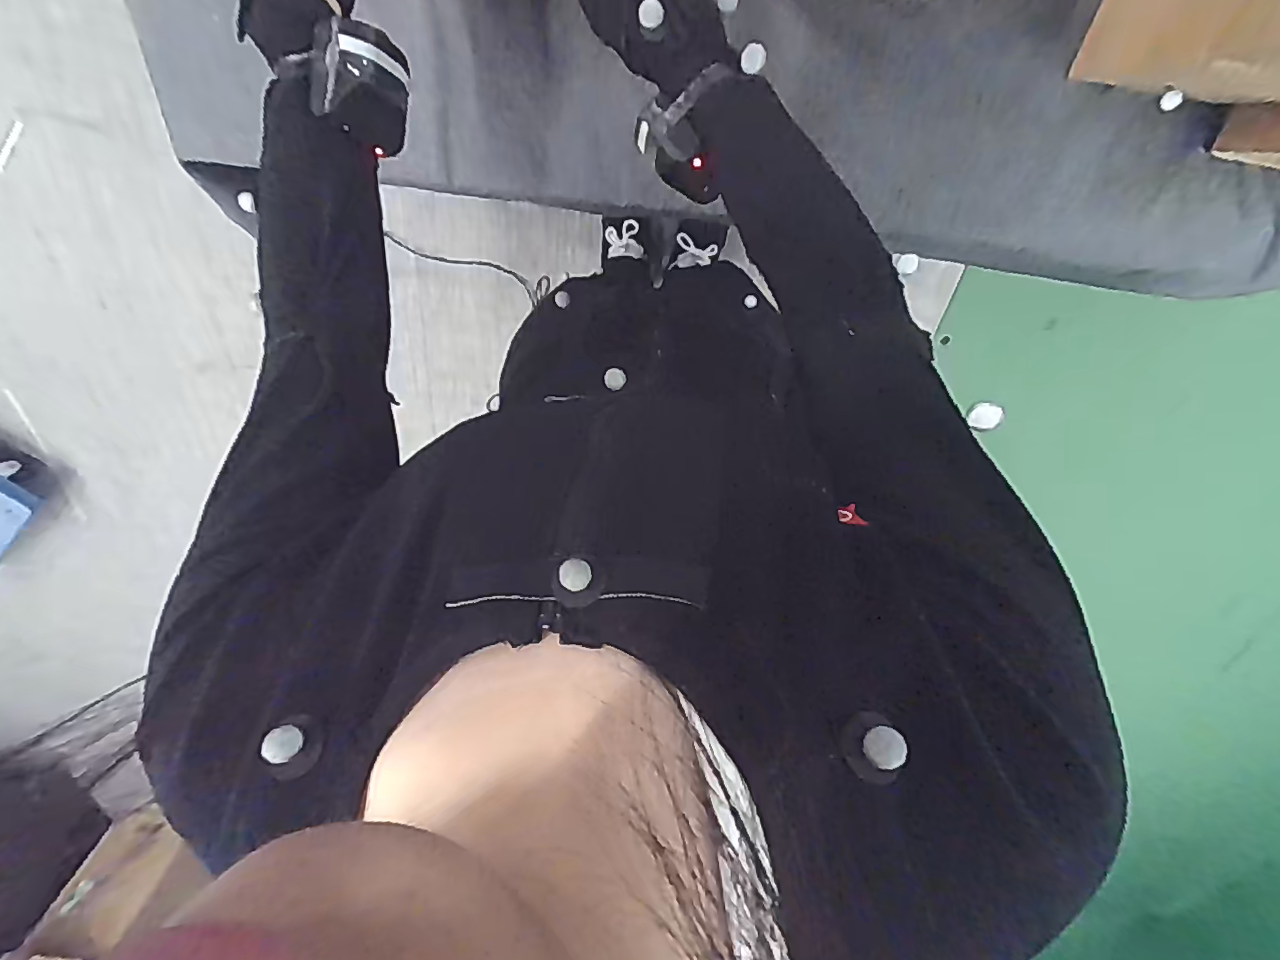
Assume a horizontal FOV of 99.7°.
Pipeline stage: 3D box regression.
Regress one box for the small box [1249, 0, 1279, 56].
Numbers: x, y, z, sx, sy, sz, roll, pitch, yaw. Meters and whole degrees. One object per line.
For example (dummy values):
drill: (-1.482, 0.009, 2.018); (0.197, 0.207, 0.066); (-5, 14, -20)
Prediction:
small box: (0.513, -0.328, 0.288); (0.168, 0.176, 0.179); (8, 123, -5)
